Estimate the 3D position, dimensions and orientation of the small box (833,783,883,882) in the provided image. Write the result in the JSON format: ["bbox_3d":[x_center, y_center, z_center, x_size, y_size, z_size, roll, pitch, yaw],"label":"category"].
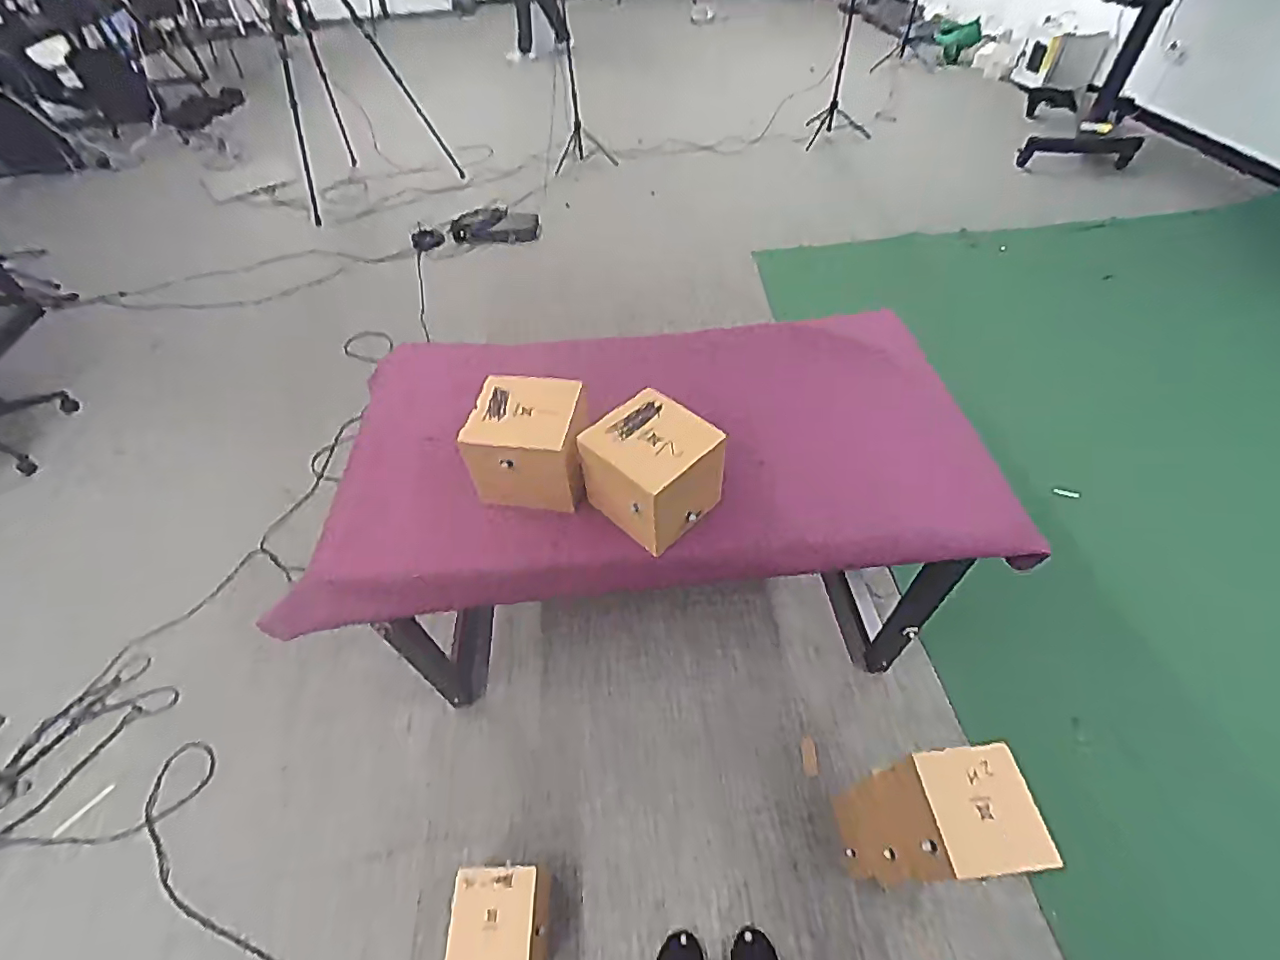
[{"bbox_3d":[0.534,0.765,1.177,0.179,0.176,0.168,-4,51,-1],"label":"small box"}]

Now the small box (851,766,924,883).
[{"bbox_3d":[0.533,0.664,1.051,0.168,0.176,0.179,-6,52,-2],"label":"small box"}]

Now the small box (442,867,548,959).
[{"bbox_3d":[-0.288,0.905,1.109,0.168,0.176,0.179,-2,51,1],"label":"small box"}]

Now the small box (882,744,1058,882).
[{"bbox_3d":[0.541,0.567,0.917,0.168,0.176,0.179,-6,52,-2],"label":"small box"}]

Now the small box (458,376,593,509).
[{"bbox_3d":[-0.190,-0.064,0.960,0.179,0.176,0.168,5,51,7],"label":"small box"}]
